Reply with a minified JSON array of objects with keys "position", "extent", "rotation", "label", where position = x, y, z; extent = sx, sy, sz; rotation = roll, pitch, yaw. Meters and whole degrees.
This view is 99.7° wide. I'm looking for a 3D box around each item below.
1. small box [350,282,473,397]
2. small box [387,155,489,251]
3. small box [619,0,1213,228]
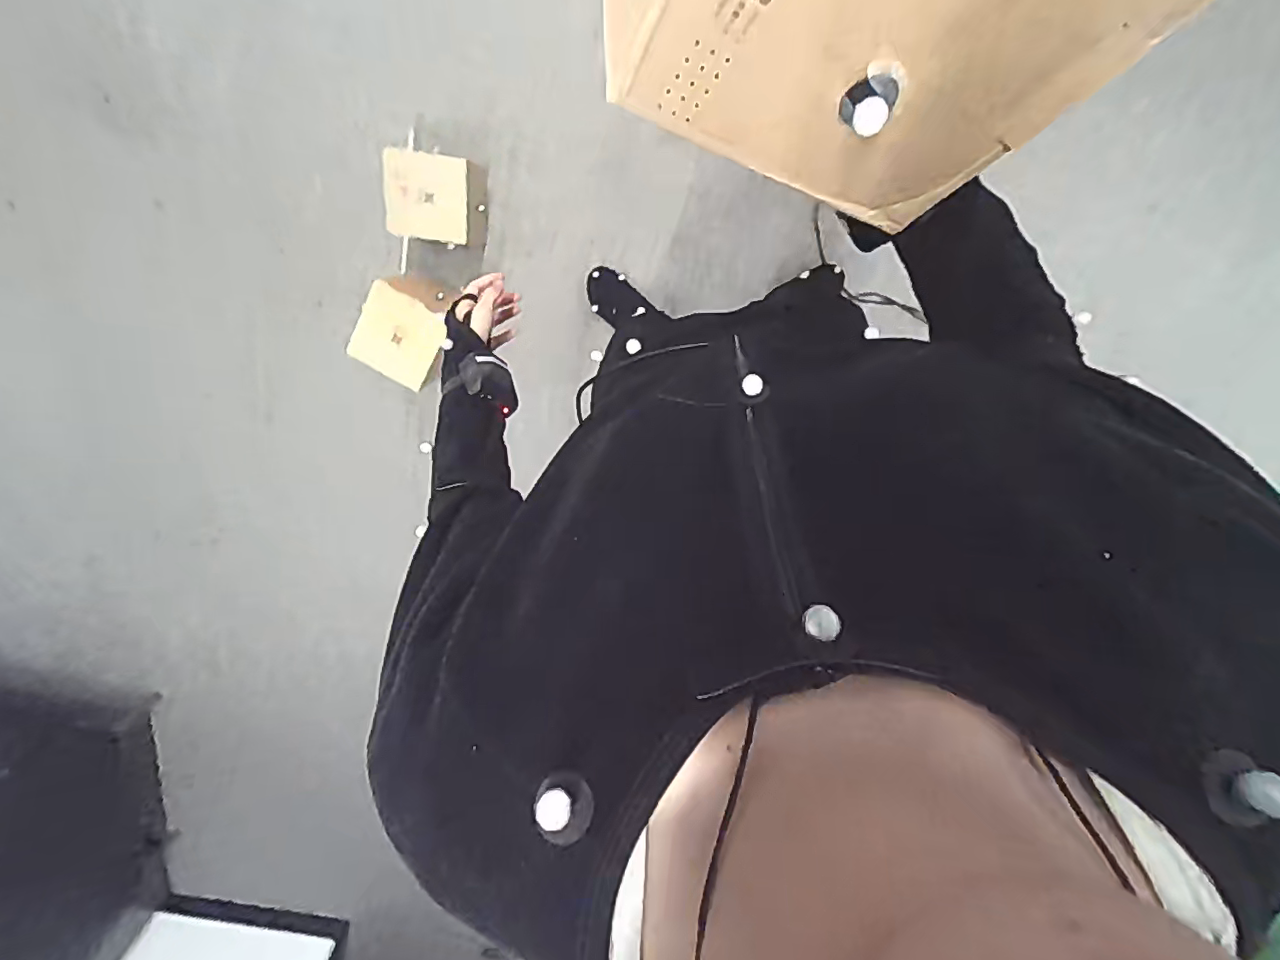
[{"position":[-0.492,-0.314,1.188],"extent":[0.168,0.176,0.179],"rotation":[30,110,-10],"label":"small box"},{"position":[-0.448,-0.622,1.227],"extent":[0.179,0.176,0.168],"rotation":[7,114,-1],"label":"small box"},{"position":[0.096,-0.236,0.192],"extent":[0.176,0.179,0.168],"rotation":[7,160,-27],"label":"small box"}]
